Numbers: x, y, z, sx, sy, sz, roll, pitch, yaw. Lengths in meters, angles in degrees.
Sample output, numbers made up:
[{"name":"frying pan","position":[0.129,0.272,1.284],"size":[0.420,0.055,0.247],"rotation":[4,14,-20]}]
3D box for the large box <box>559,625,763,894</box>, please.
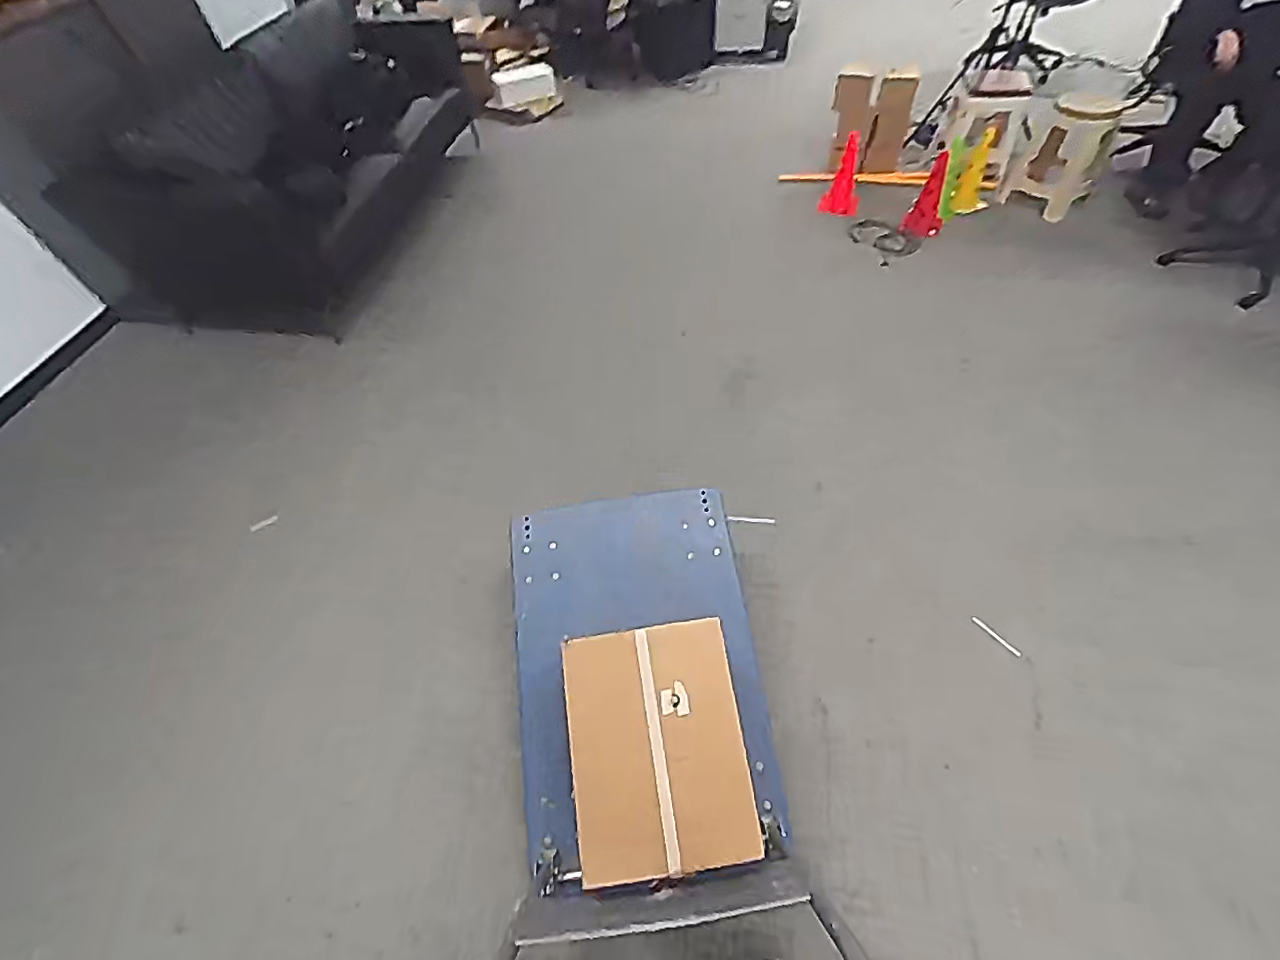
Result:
[{"name":"large box","position":[0.032,0.544,1.114],"size":[0.320,0.320,0.408],"rotation":[-9,68,-2]}]
